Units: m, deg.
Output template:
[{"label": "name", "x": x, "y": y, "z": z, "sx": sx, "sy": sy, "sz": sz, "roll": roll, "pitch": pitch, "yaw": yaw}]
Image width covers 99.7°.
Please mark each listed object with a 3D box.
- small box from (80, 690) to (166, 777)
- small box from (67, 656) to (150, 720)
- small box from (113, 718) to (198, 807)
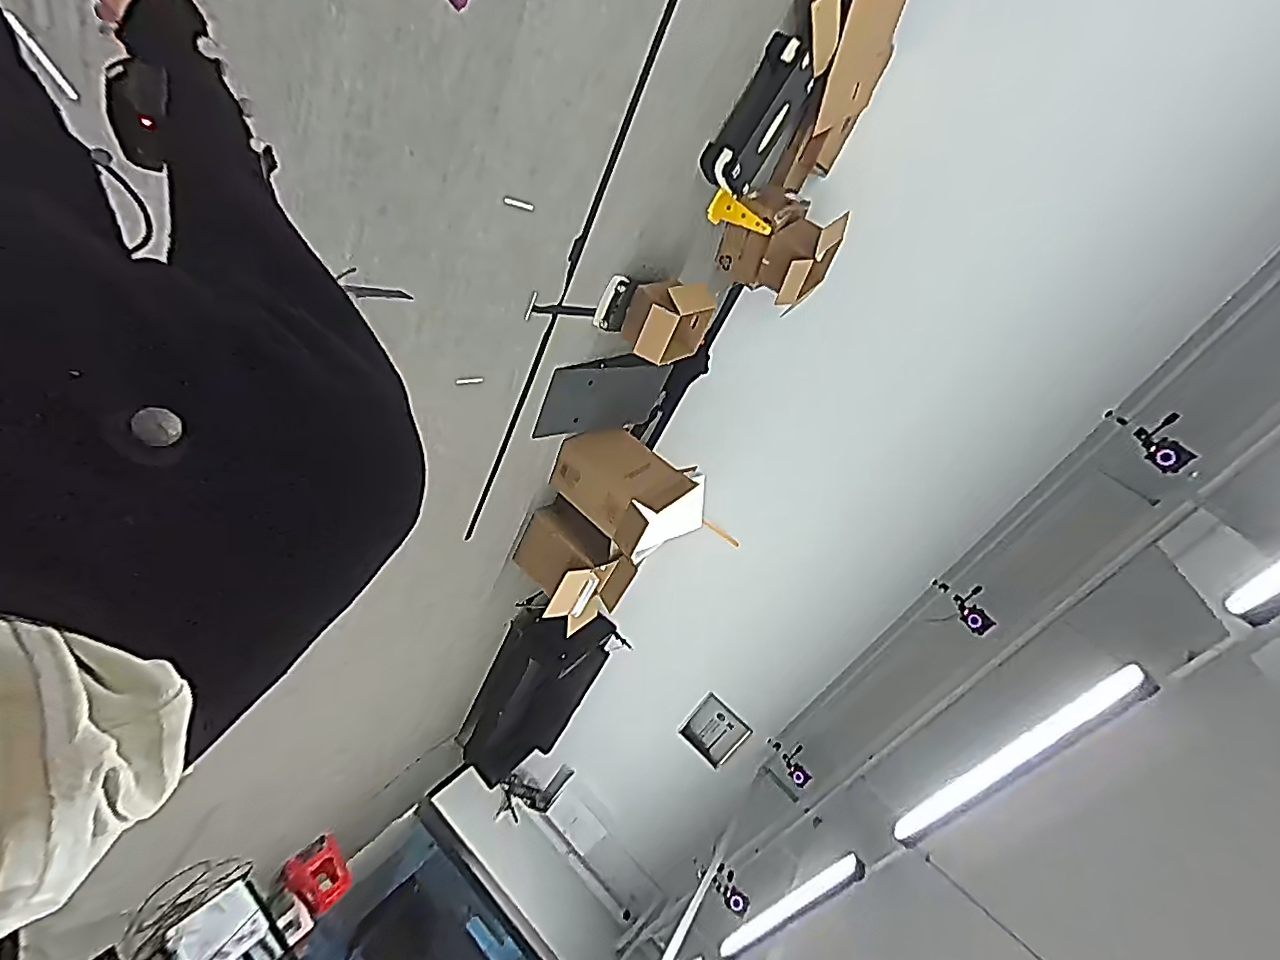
[{"label": "small box", "x": -1.775, "y": 0.870, "z": 1.872, "sx": 0.179, "sy": 0.176, "sz": 0.168, "roll": -29, "pitch": 152, "yaw": -51}, {"label": "small box", "x": -1.889, "y": 0.766, "z": 1.929, "sx": 0.168, "sy": 0.176, "sz": 0.179, "roll": -28, "pitch": 151, "yaw": -53}, {"label": "small box", "x": -1.635, "y": 0.947, "z": 1.825, "sx": 0.168, "sy": 0.176, "sz": 0.179, "roll": -28, "pitch": 151, "yaw": -55}]
